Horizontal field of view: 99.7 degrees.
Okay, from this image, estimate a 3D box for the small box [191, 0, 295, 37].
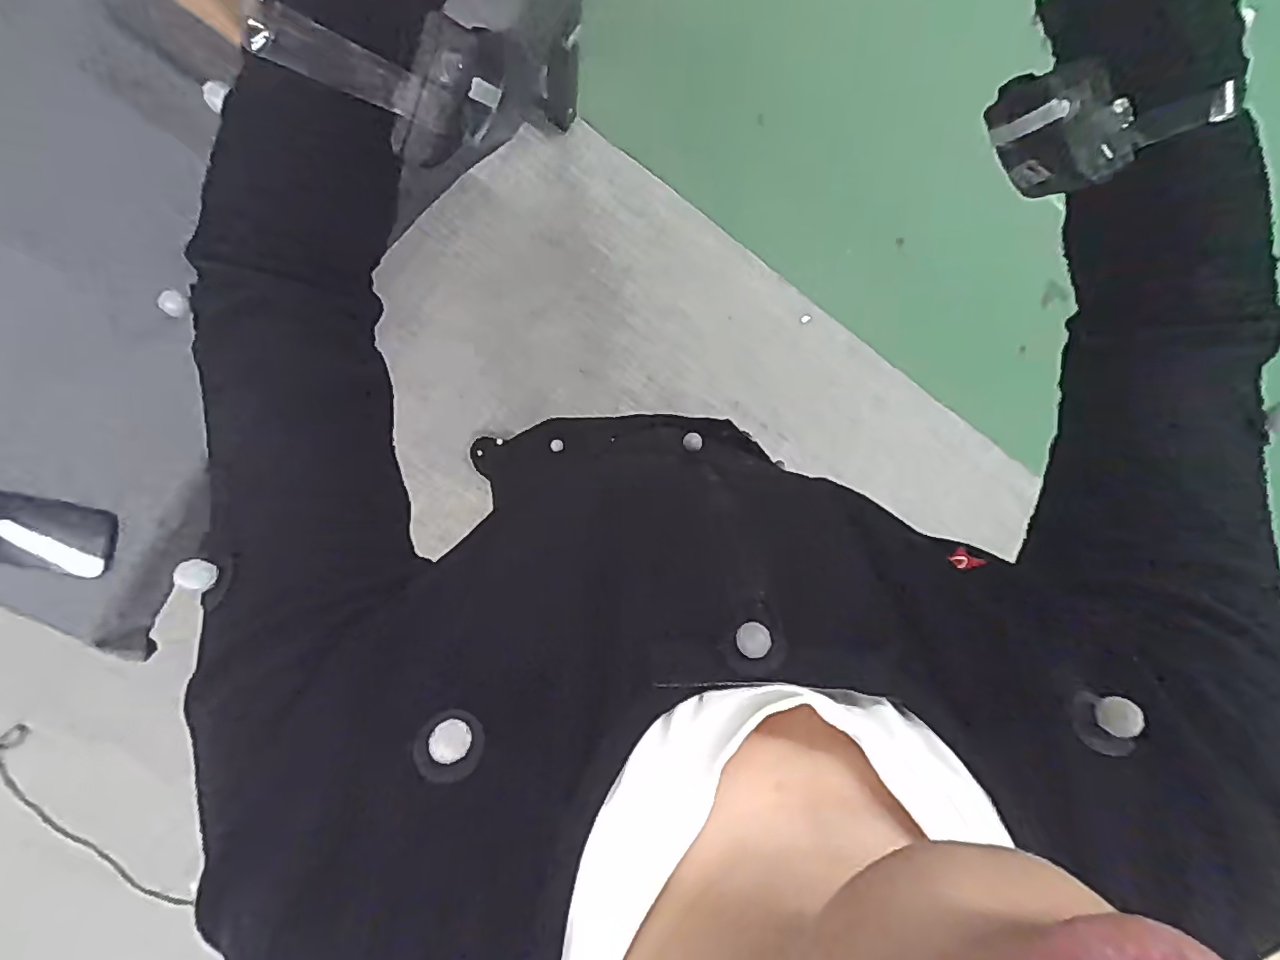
[{"bbox_3d":[-0.432,-0.583,0.515,0.179,0.176,0.168,33,90,-10],"label":"small box"}]
